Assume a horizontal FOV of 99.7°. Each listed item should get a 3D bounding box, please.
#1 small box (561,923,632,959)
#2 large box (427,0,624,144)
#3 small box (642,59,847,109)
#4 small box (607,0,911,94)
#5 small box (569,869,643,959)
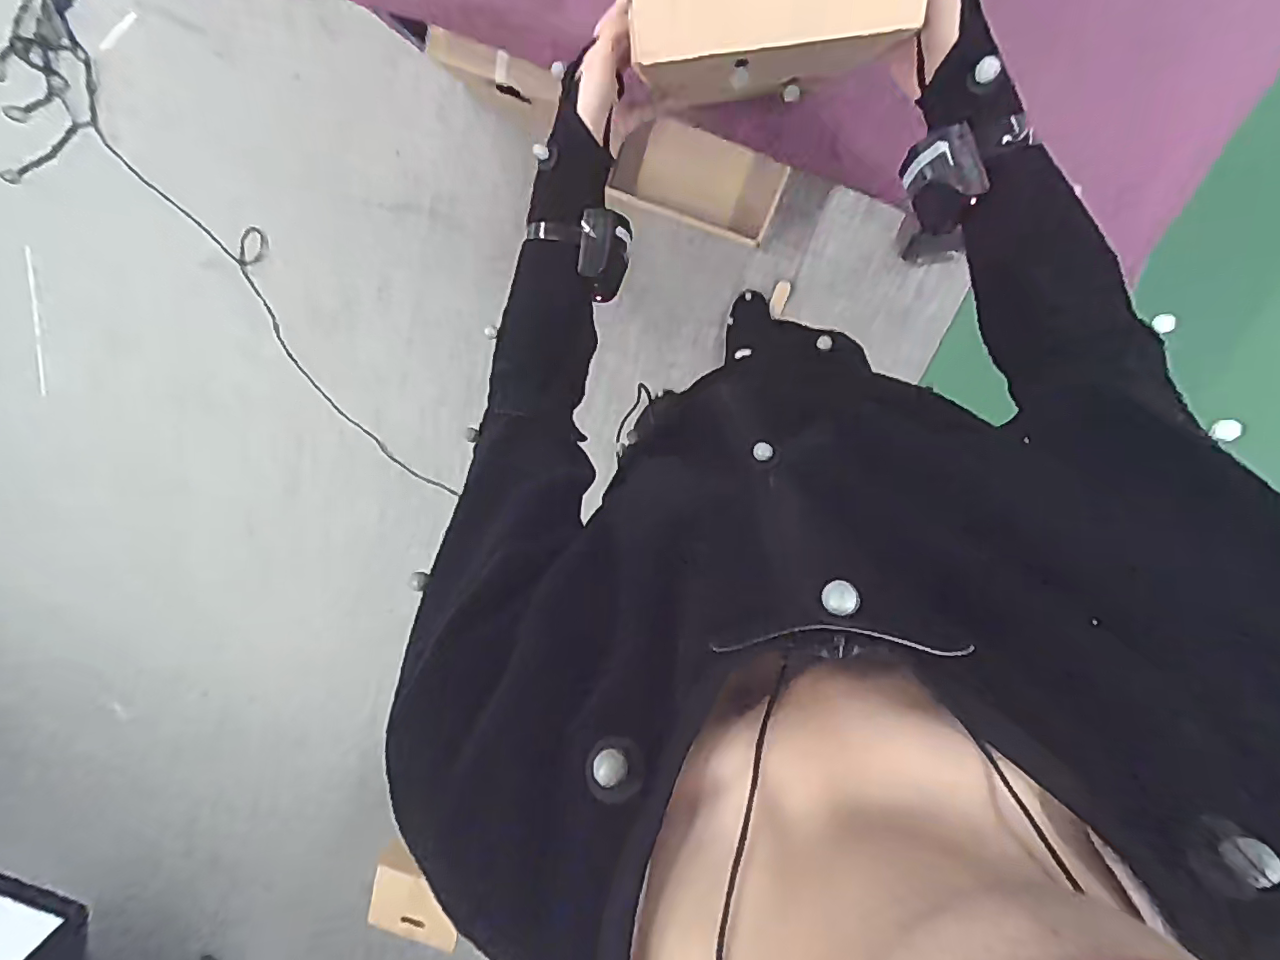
[{"bbox_3d":[-0.117,1.338,1.446,0.168,0.176,0.179,-7,106,9],"label":"small box"},{"bbox_3d":[-0.184,-0.976,1.087,0.320,0.320,0.408,20,112,1],"label":"large box"},{"bbox_3d":[0.086,-0.453,0.494,0.179,0.176,0.168,-3,120,8],"label":"small box"},{"bbox_3d":[0.071,-0.368,0.353,0.179,0.176,0.168,-2,121,8],"label":"small box"},{"bbox_3d":[-0.093,1.298,1.604,0.168,0.176,0.179,-11,106,11],"label":"small box"}]
